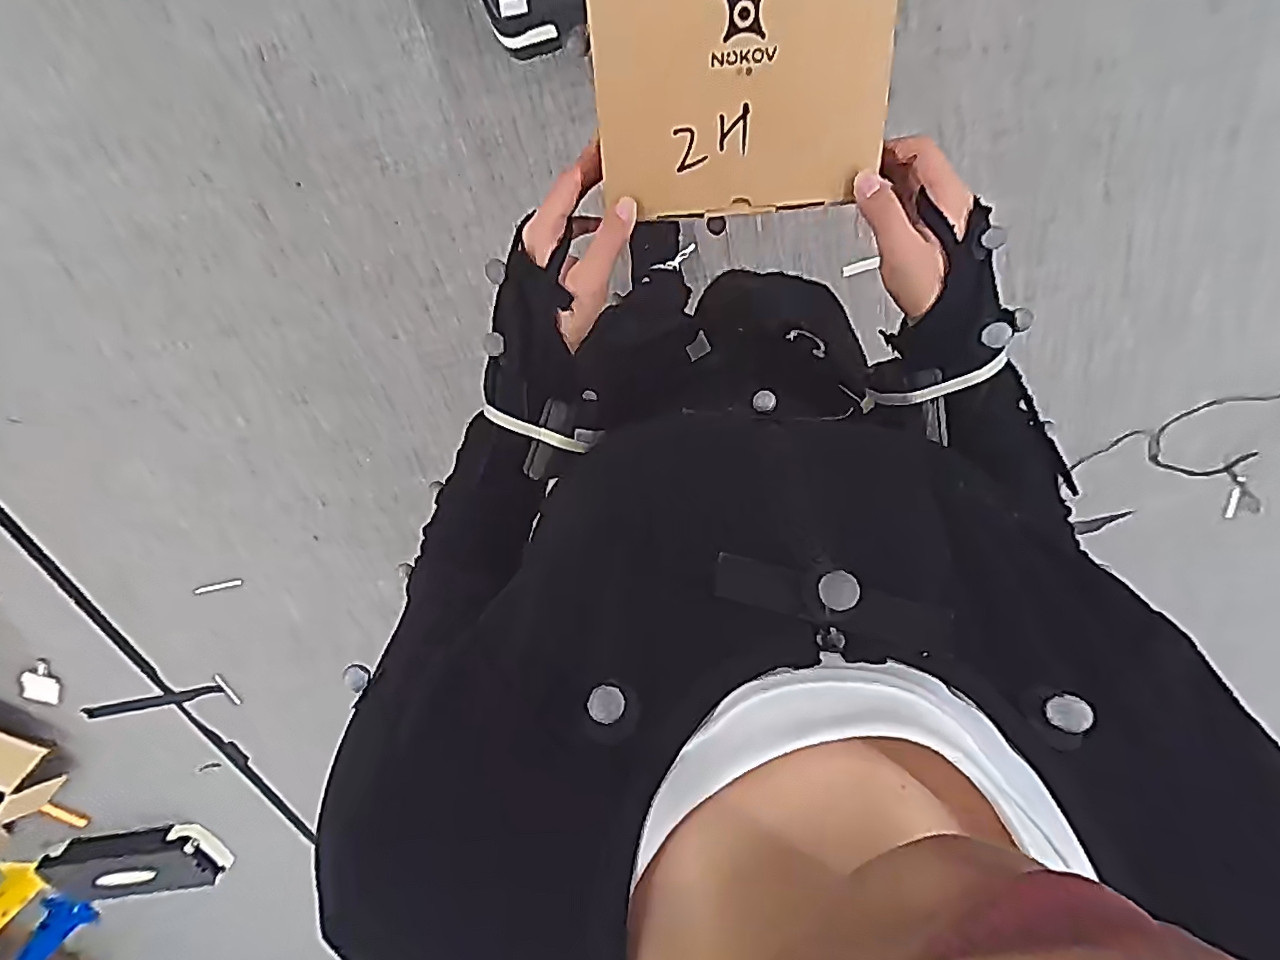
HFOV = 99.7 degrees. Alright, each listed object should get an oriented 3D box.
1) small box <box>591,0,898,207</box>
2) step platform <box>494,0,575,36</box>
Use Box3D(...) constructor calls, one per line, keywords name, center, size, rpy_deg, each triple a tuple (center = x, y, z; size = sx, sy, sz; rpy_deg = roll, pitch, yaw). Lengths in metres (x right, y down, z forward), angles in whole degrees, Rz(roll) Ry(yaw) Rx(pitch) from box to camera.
Box3D(name="small box", center=(0.055, -0.285, 0.359), size=(0.168, 0.176, 0.179), rpy_deg=(-3, 116, 2))
Box3D(name="step platform", center=(0.049, -0.973, 0.840), size=(0.684, 0.204, 0.286), rpy_deg=(-13, 117, 6))
